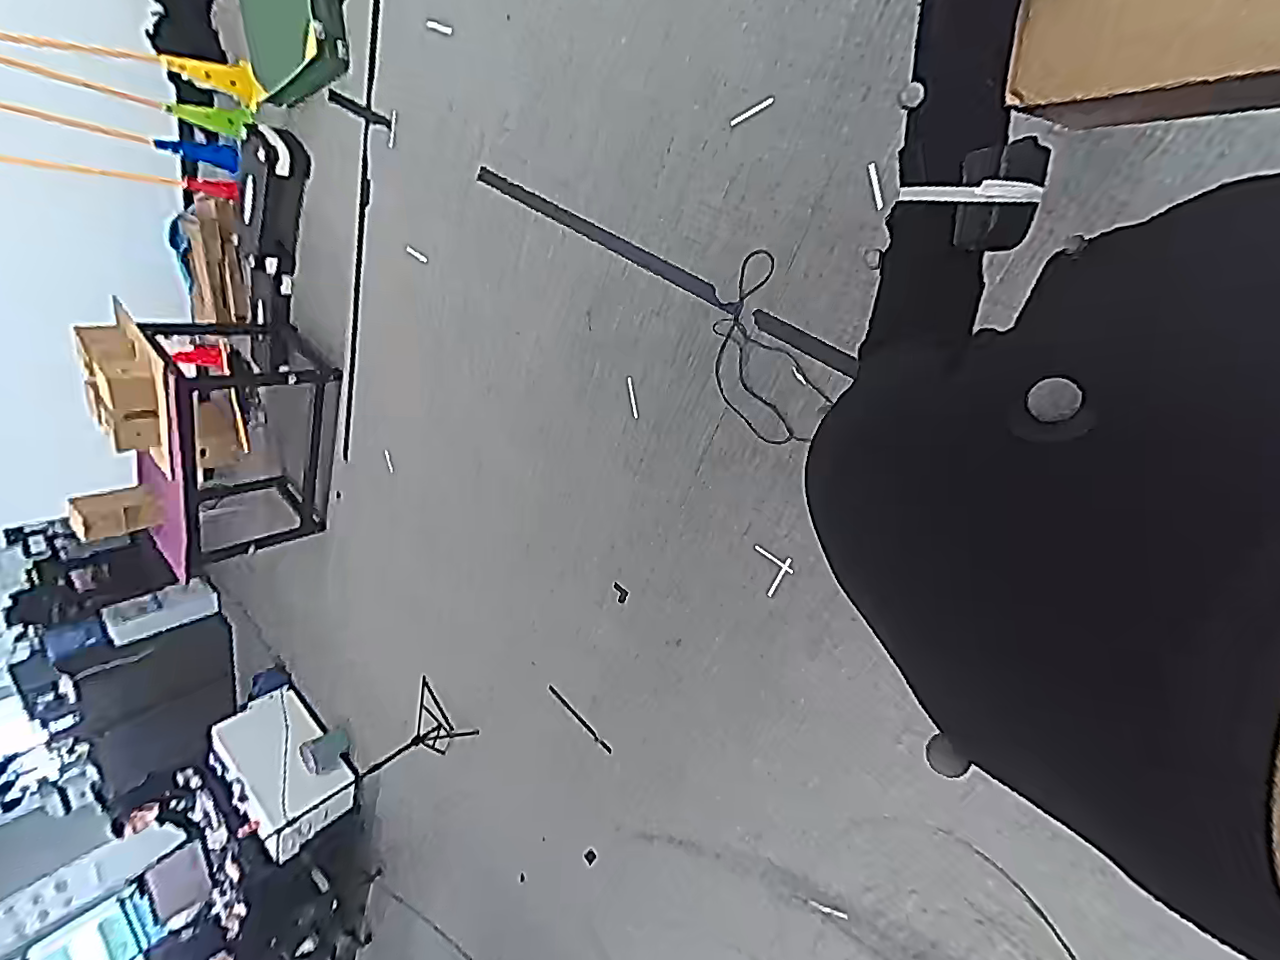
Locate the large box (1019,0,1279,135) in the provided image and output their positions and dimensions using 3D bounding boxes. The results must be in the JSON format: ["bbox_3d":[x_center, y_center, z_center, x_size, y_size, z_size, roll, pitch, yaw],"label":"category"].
[{"bbox_3d":[0.479,-0.389,0.269,0.408,0.320,0.320,18,124,37],"label":"large box"}]
